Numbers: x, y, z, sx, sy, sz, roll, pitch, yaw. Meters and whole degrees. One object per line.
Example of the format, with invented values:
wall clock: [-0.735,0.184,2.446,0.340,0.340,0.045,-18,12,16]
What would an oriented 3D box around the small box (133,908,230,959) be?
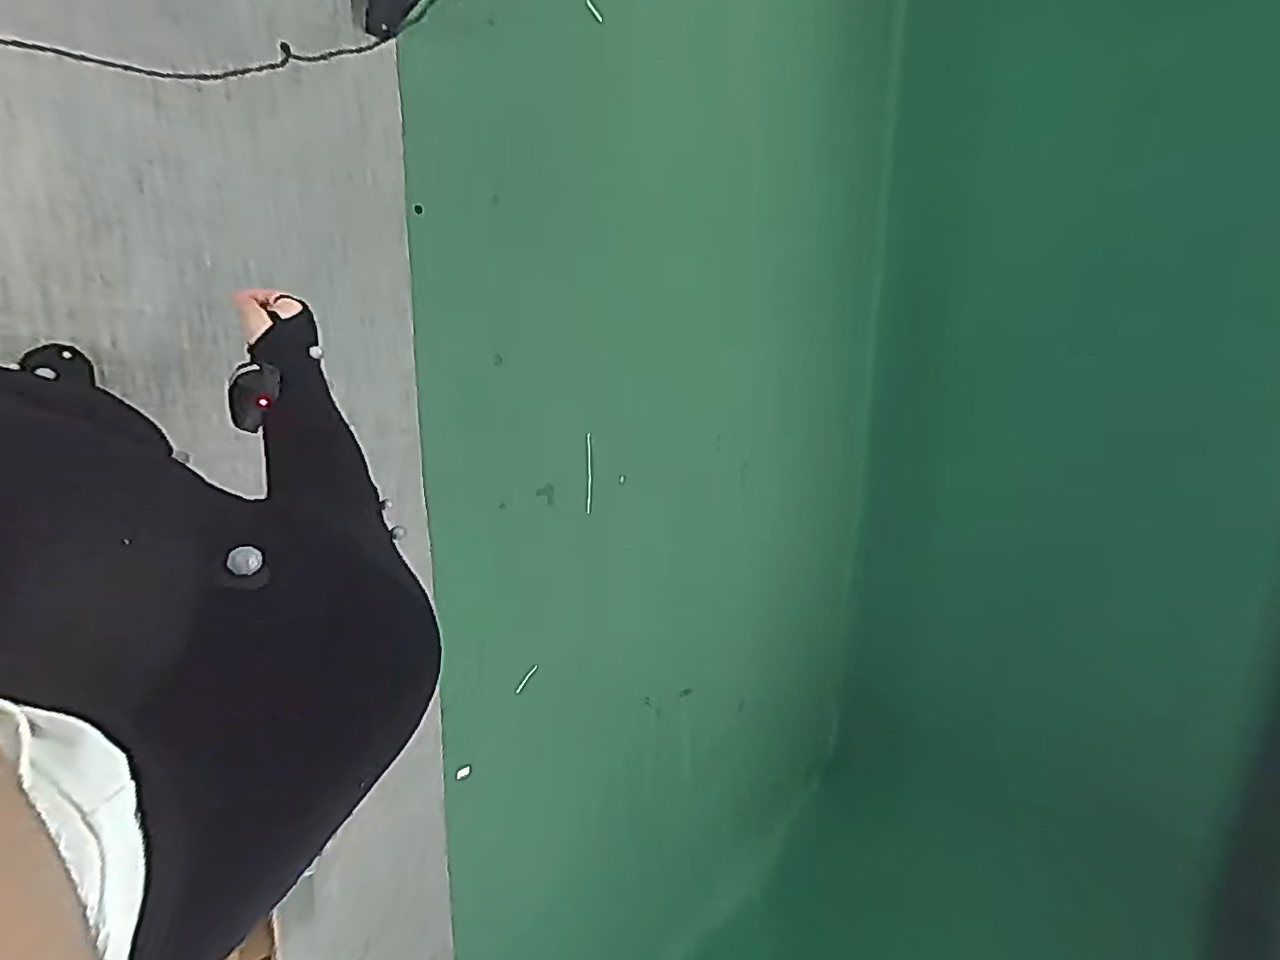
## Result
small box: [-1.100,1.189,1.303,0.168,0.176,0.179,-8,104,-43]
